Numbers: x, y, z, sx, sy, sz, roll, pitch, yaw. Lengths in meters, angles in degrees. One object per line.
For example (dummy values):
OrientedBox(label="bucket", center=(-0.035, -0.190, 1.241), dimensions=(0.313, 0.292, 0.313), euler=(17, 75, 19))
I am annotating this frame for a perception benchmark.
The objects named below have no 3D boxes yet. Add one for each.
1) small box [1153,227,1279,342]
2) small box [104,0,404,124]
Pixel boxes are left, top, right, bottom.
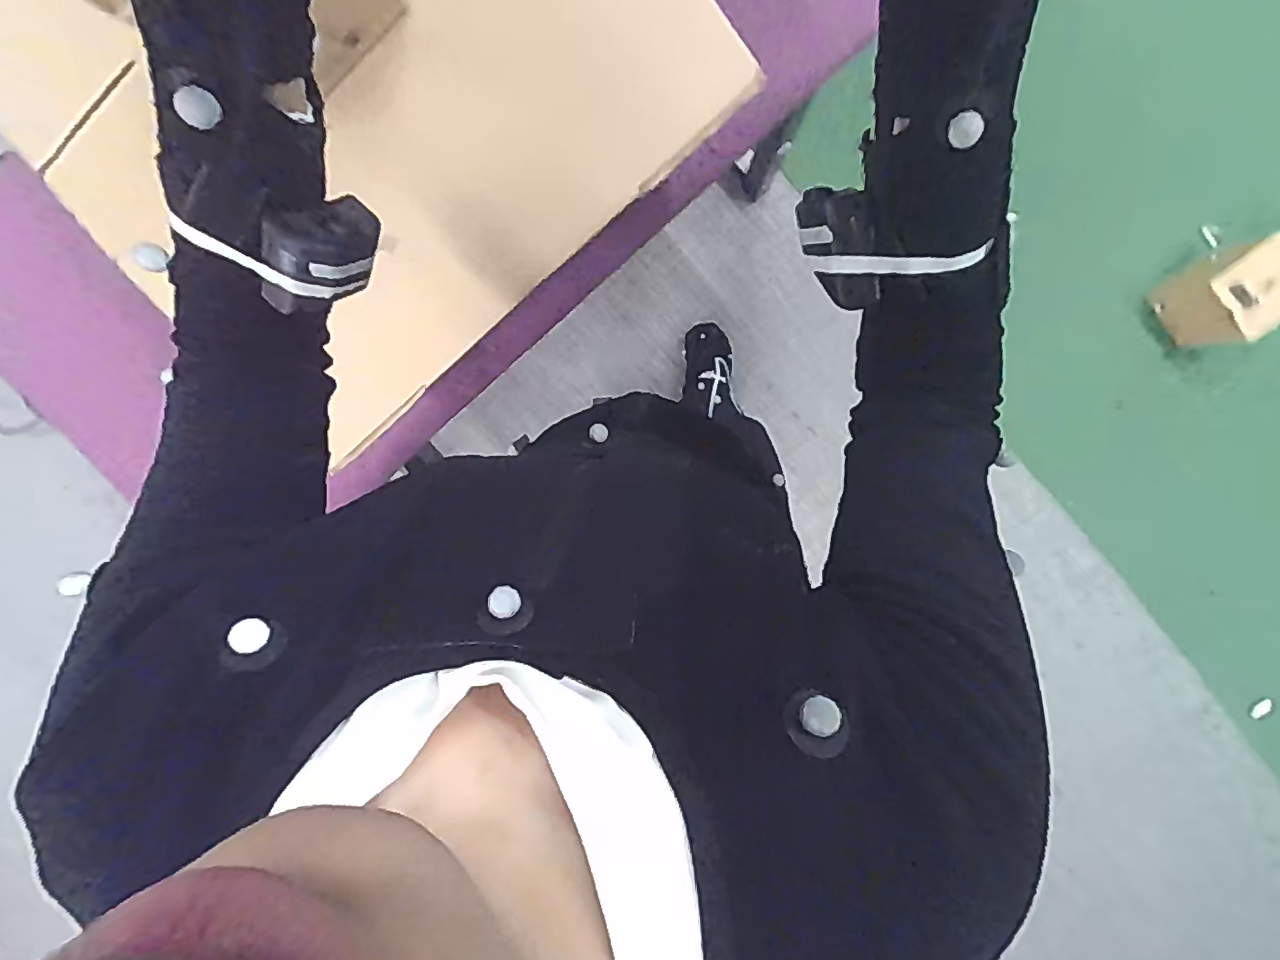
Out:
OrientedBox(label="small box", center=(1.352, -0.437, 1.246), dimensions=(0.179, 0.176, 0.168), euler=(-40, 96, 8))
OrientedBox(label="small box", center=(-0.333, -0.437, 0.424), dimensions=(0.168, 0.176, 0.179), euler=(-39, 95, 9))
